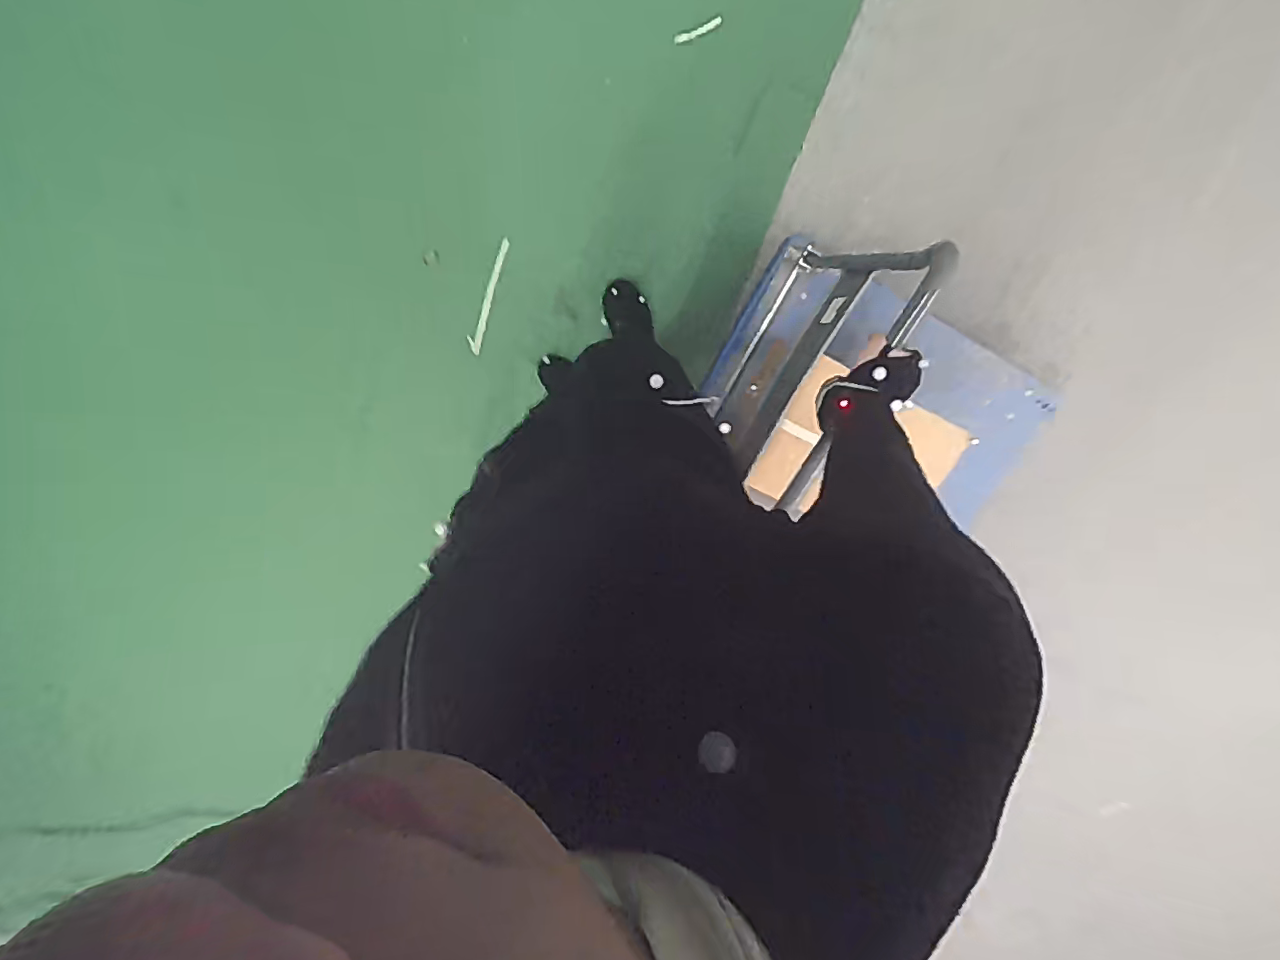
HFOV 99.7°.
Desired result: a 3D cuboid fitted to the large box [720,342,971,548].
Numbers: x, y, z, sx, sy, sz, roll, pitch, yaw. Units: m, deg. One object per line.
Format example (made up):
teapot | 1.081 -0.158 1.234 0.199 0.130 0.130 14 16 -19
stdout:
large box | 0.456 -0.098 1.296 0.408 0.320 0.320 24 108 -10
